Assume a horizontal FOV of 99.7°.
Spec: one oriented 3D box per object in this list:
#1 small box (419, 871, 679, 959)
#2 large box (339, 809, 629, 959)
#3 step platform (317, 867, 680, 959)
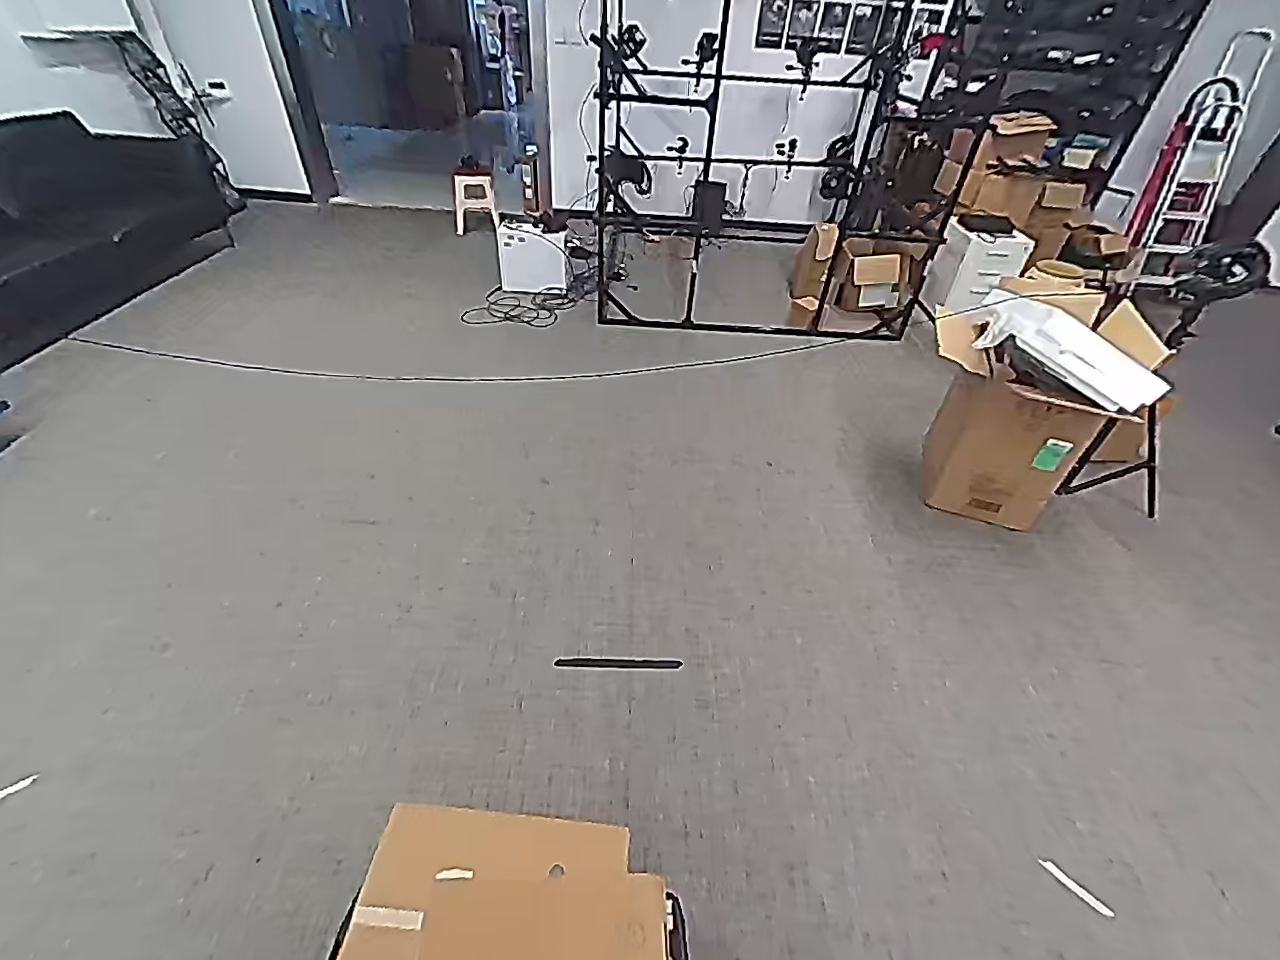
[{"bbox_3d":[-0.068,0.402,0.390,0.179,0.176,0.168,4,41,-6],"label":"small box"},{"bbox_3d":[-0.228,0.777,0.884,0.408,0.320,0.320,5,39,2],"label":"large box"},{"bbox_3d":[-0.262,0.965,1.028,0.684,0.204,0.286,6,40,4],"label":"step platform"}]
